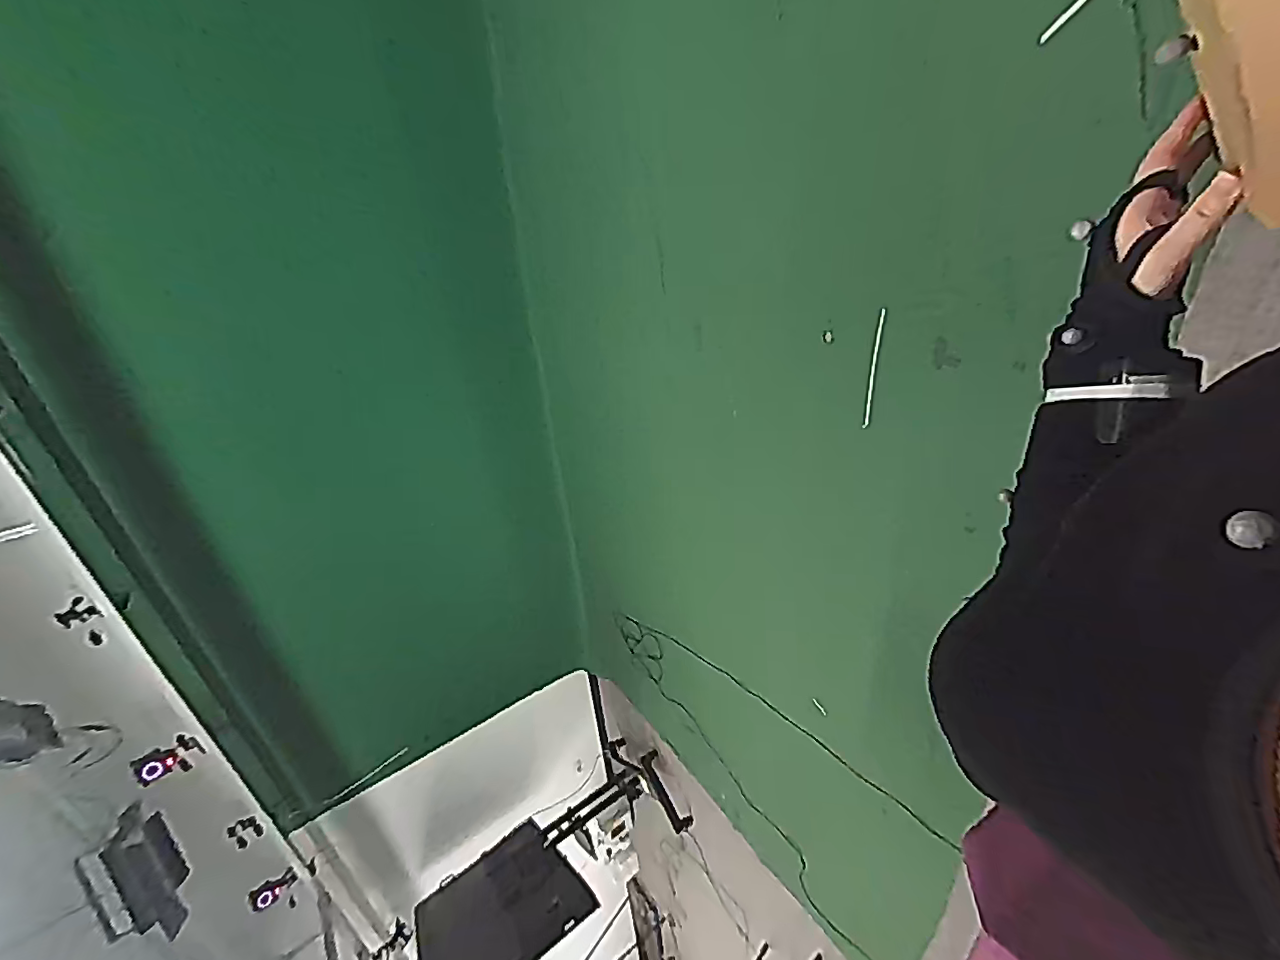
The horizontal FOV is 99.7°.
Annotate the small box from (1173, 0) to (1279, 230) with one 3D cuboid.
[{"bbox_3d":[0.379,-0.263,0.254,0.168,0.176,0.179,-16,118,46],"label":"small box"}]
